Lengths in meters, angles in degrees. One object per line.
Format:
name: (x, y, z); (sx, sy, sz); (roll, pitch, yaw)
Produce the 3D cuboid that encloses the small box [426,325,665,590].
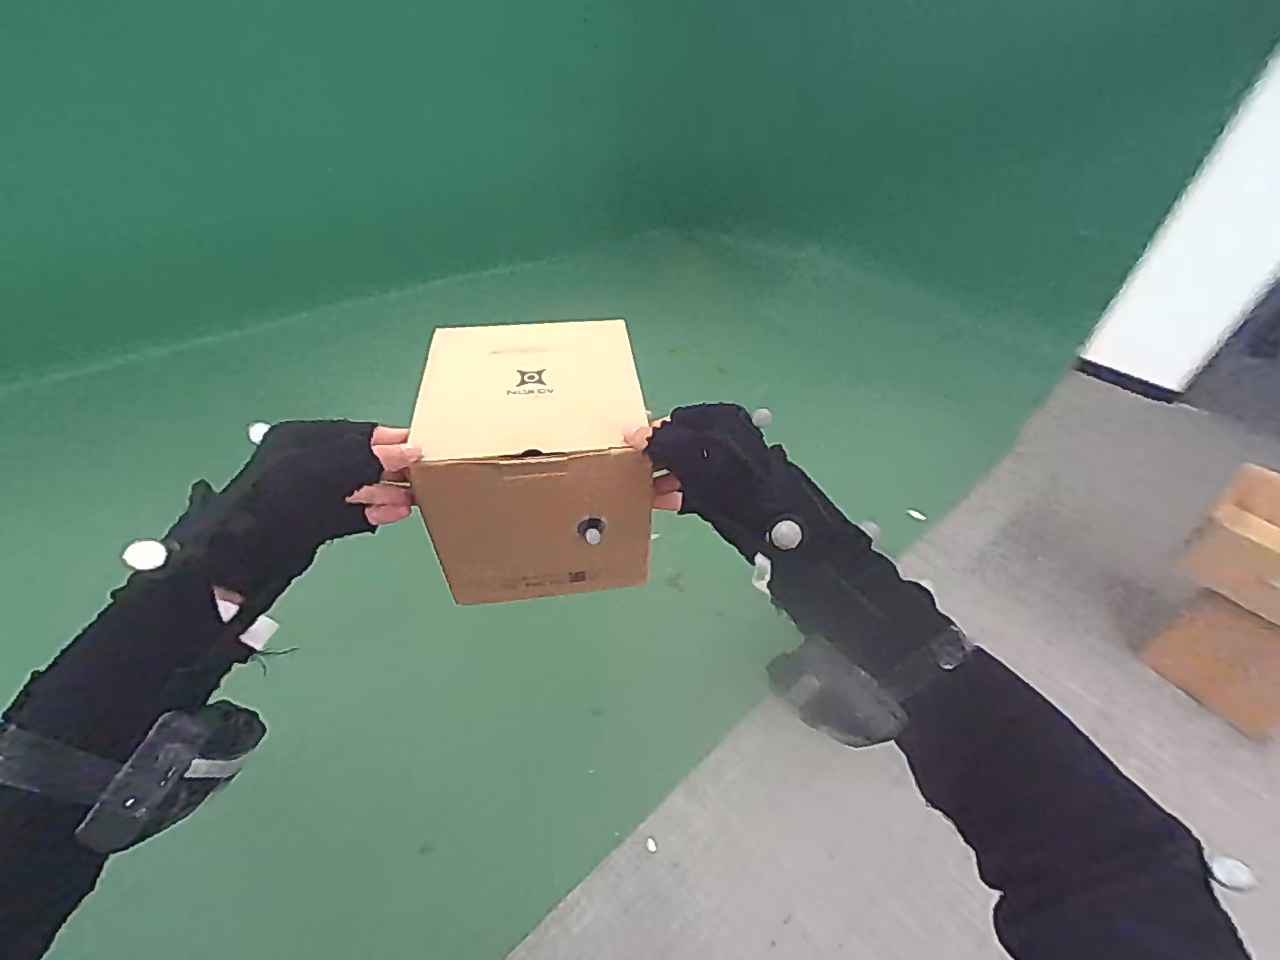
small box: (-0.073, -0.017, 0.478); (0.168, 0.176, 0.179); (-4, 44, -7)
